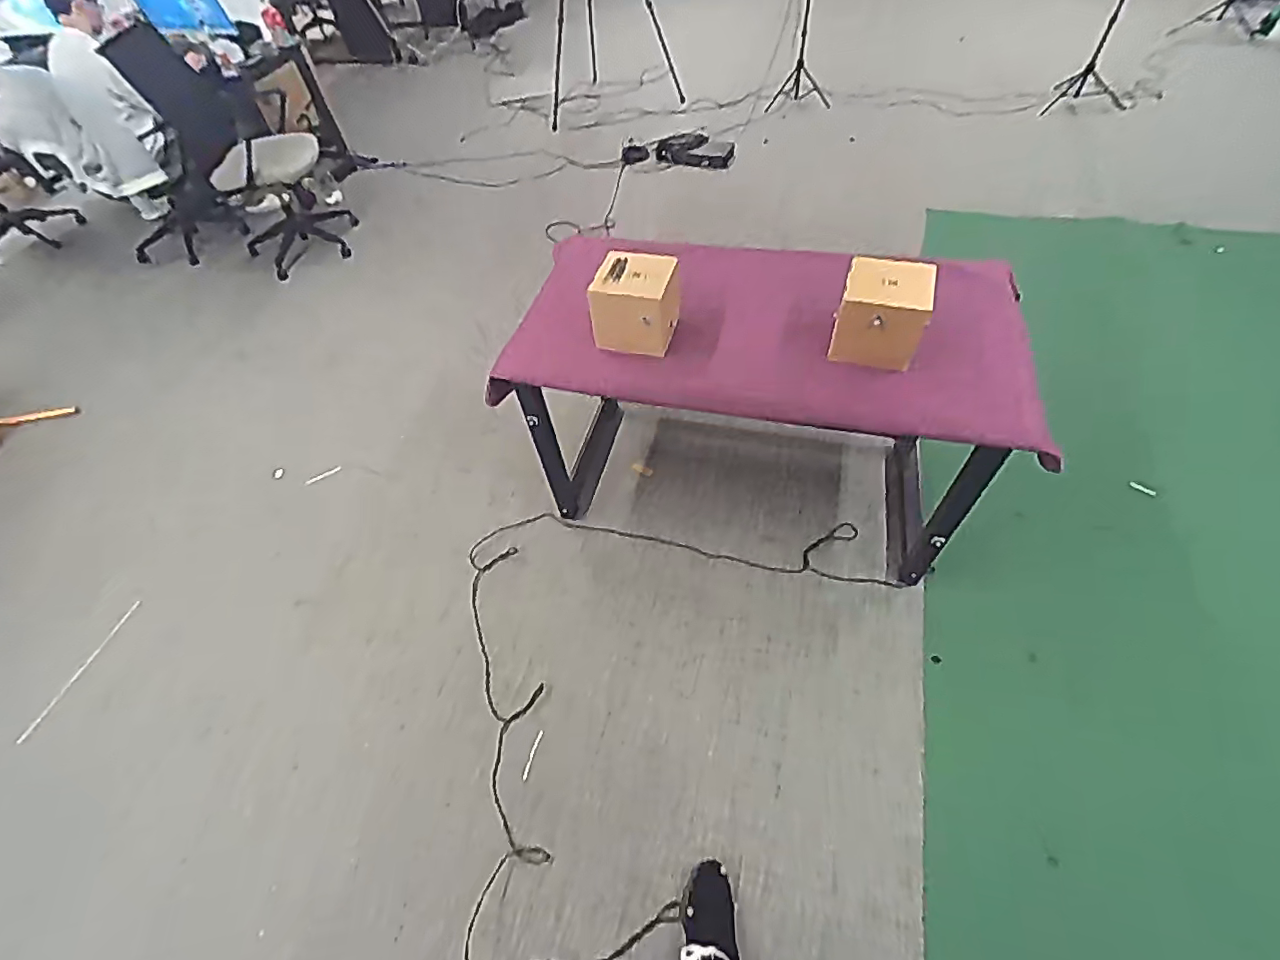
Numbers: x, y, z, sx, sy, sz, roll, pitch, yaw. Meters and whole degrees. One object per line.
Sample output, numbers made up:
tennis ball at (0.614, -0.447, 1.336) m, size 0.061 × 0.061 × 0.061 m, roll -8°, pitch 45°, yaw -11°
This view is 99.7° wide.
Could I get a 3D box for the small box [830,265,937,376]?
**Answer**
small box at (0.547, -0.357, 1.223) m, size 0.179 × 0.176 × 0.168 m, roll 14°, pitch 56°, yaw 16°
